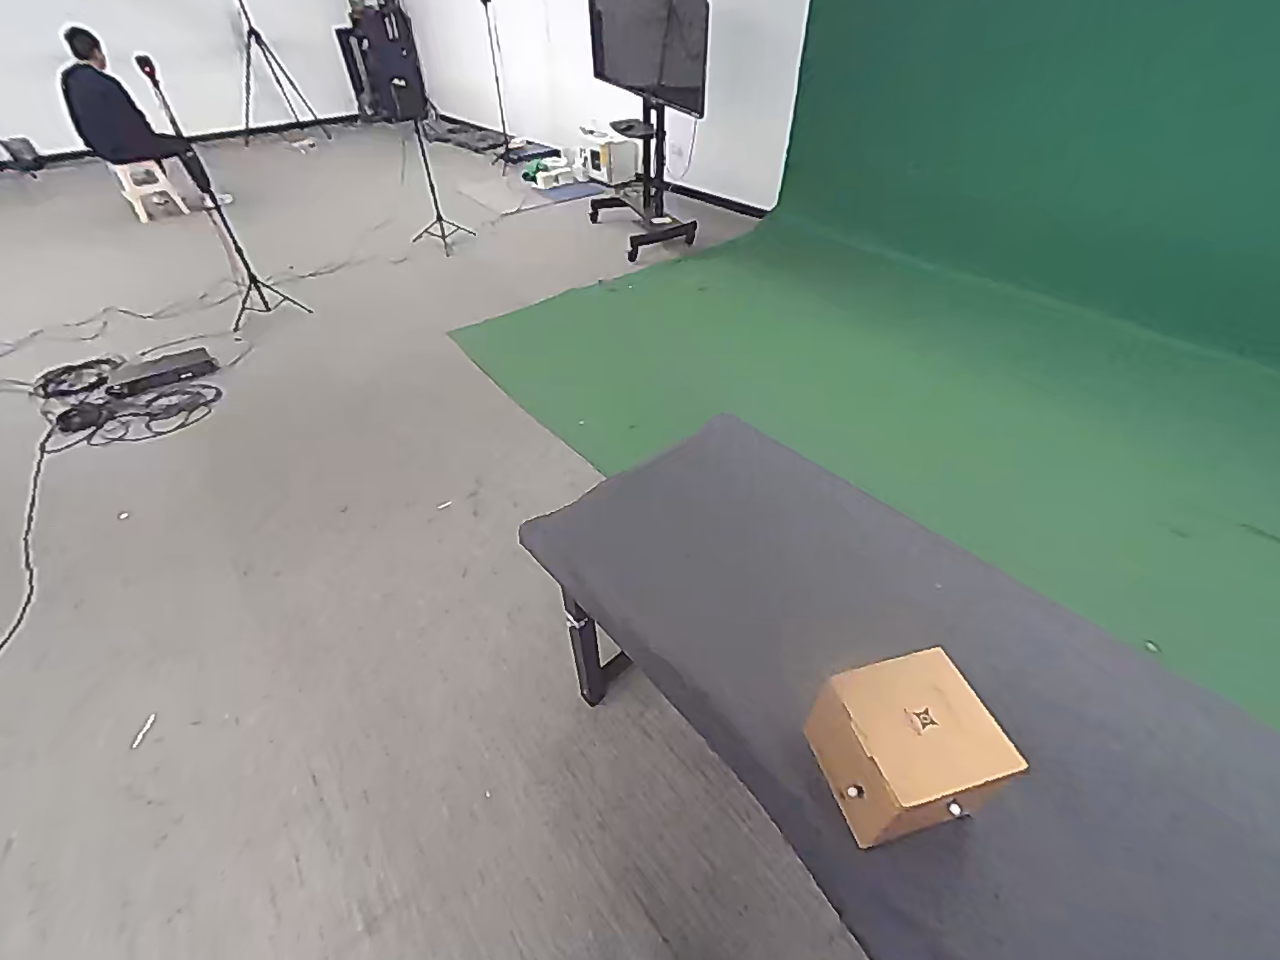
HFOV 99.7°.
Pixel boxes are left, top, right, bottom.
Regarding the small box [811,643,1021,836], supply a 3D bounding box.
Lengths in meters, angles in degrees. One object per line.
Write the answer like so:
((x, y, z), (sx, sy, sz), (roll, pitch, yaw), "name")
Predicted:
((0.351, 0.354, 0.736), (0.179, 0.176, 0.168), (-10, 45, -12), "small box")
